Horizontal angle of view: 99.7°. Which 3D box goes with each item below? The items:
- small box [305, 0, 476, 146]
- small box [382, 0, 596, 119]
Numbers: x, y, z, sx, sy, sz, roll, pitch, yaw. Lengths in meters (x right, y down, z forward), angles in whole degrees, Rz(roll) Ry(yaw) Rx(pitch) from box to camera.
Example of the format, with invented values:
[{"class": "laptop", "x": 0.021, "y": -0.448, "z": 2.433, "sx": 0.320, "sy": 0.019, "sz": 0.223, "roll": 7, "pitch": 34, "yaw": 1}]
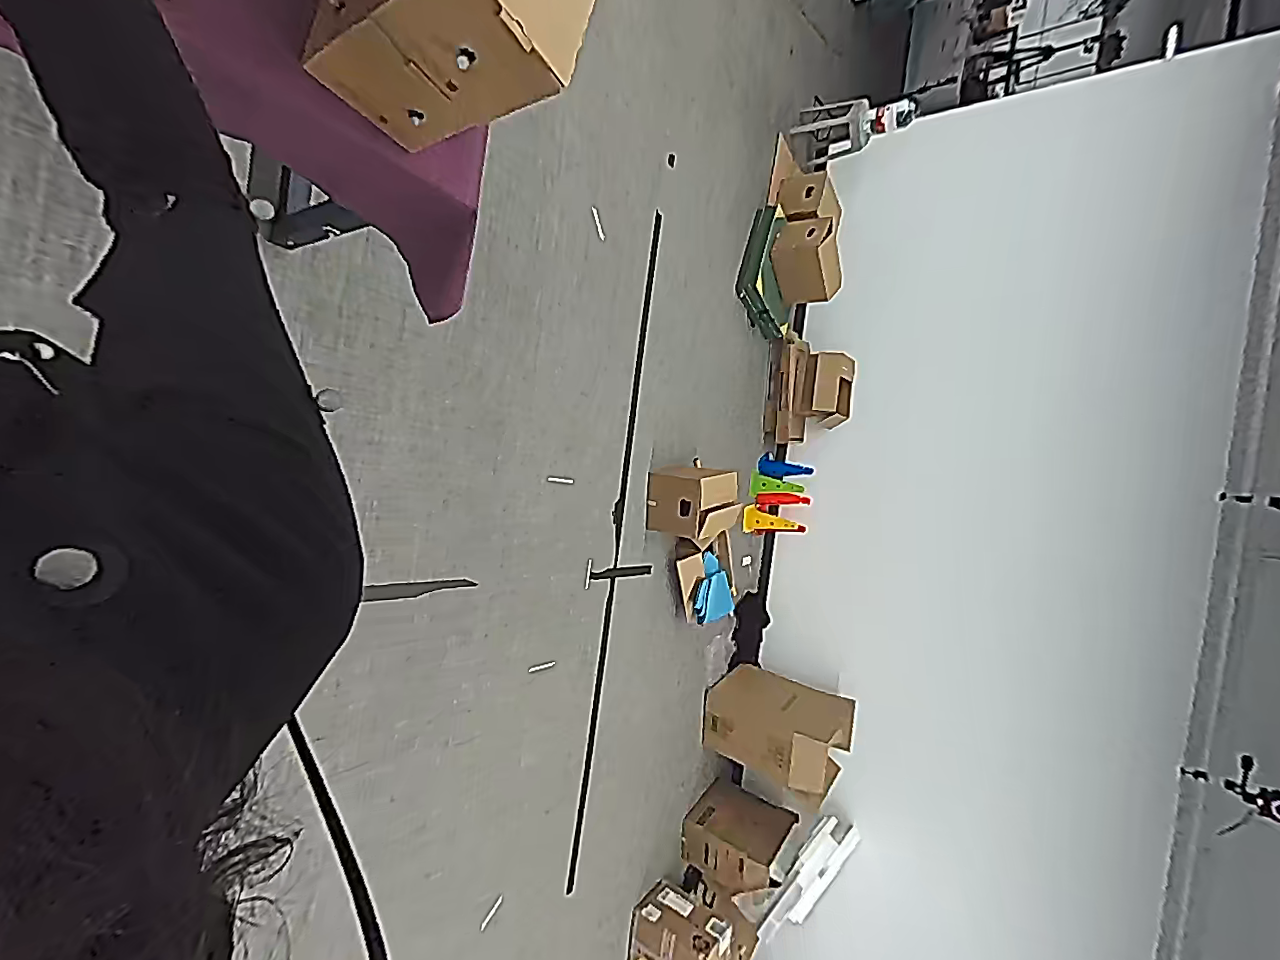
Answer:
[{"class": "small box", "x": -0.321, "y": -0.599, "z": 0.736, "sx": 0.168, "sy": 0.176, "sz": 0.179, "roll": 22, "pitch": 77, "yaw": -56}, {"class": "small box", "x": -0.181, "y": -0.582, "z": 0.651, "sx": 0.168, "sy": 0.176, "sz": 0.179, "roll": 29, "pitch": 73, "yaw": -55}]
